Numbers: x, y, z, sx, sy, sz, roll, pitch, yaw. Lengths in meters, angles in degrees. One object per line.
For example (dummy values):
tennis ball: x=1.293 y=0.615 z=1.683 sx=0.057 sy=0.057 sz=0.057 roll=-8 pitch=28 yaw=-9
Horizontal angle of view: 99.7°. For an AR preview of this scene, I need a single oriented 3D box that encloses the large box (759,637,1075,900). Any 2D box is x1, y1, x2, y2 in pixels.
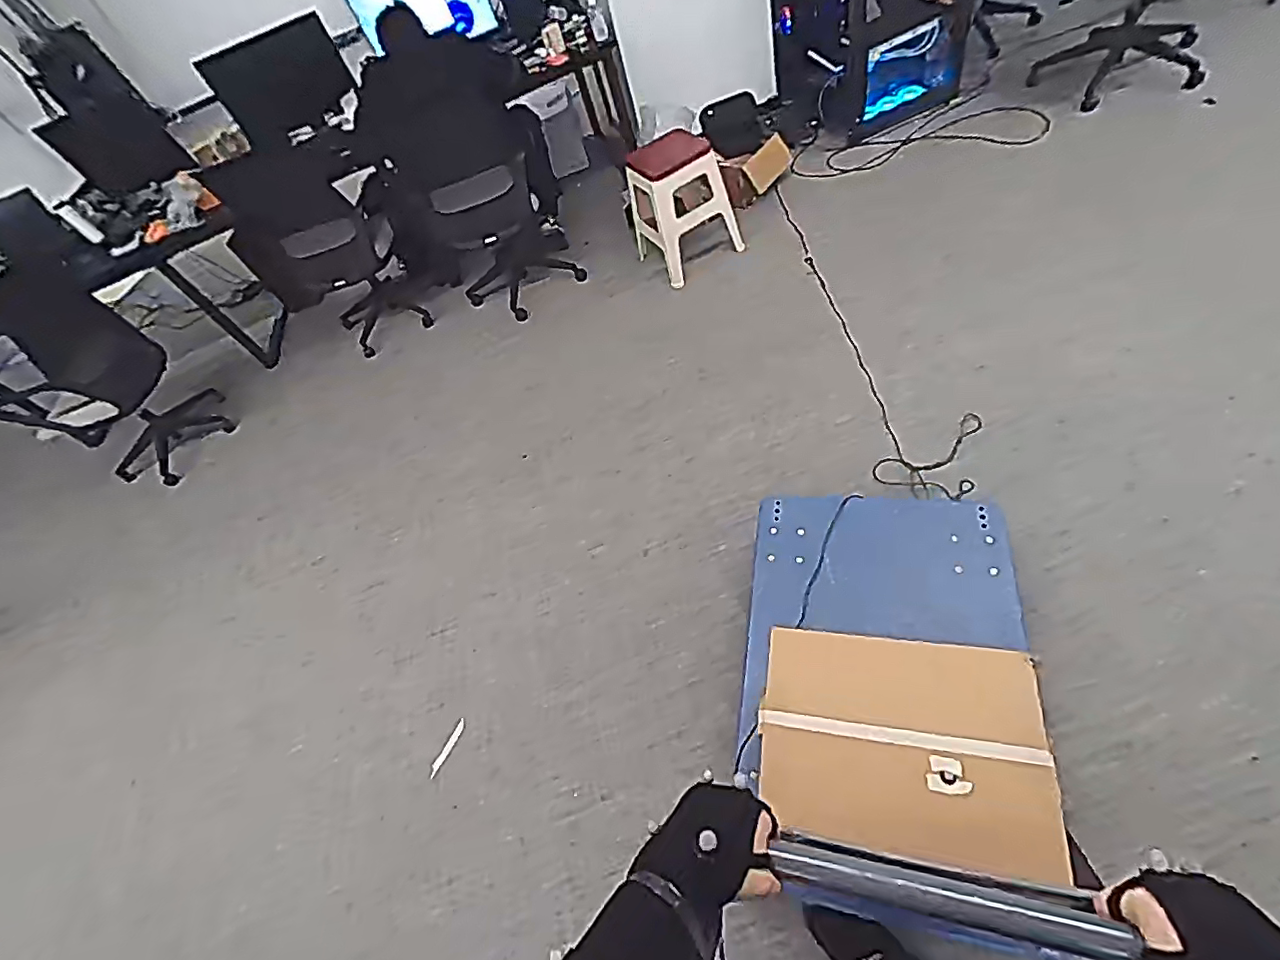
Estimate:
large box: x=0.430 y=0.492 z=0.941 sx=0.408 sy=0.320 sz=0.320 roll=1 pitch=56 yaw=20
